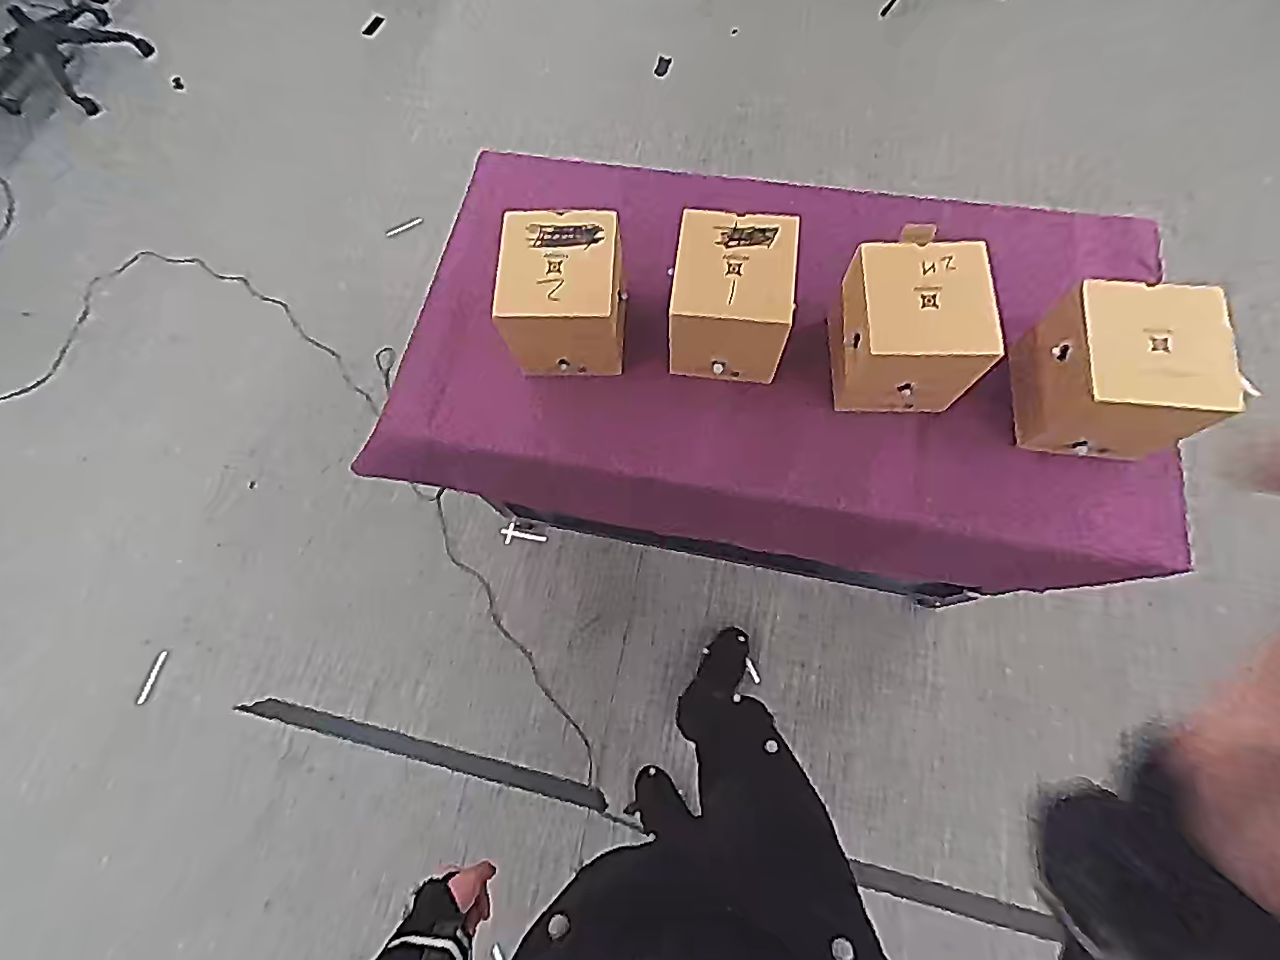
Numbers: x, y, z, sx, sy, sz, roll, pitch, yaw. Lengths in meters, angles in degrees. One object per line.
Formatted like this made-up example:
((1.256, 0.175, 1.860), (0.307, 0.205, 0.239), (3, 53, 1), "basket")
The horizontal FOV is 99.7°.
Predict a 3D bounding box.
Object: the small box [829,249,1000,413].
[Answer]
((0.382, -0.208, 0.787), (0.168, 0.176, 0.179), (2, 71, 4), "small box")

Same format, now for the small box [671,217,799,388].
((0.137, -0.264, 0.823), (0.168, 0.176, 0.179), (7, 72, 6), "small box")

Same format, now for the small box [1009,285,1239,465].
((0.643, -0.138, 0.747), (0.168, 0.176, 0.179), (7, 71, 7), "small box")
